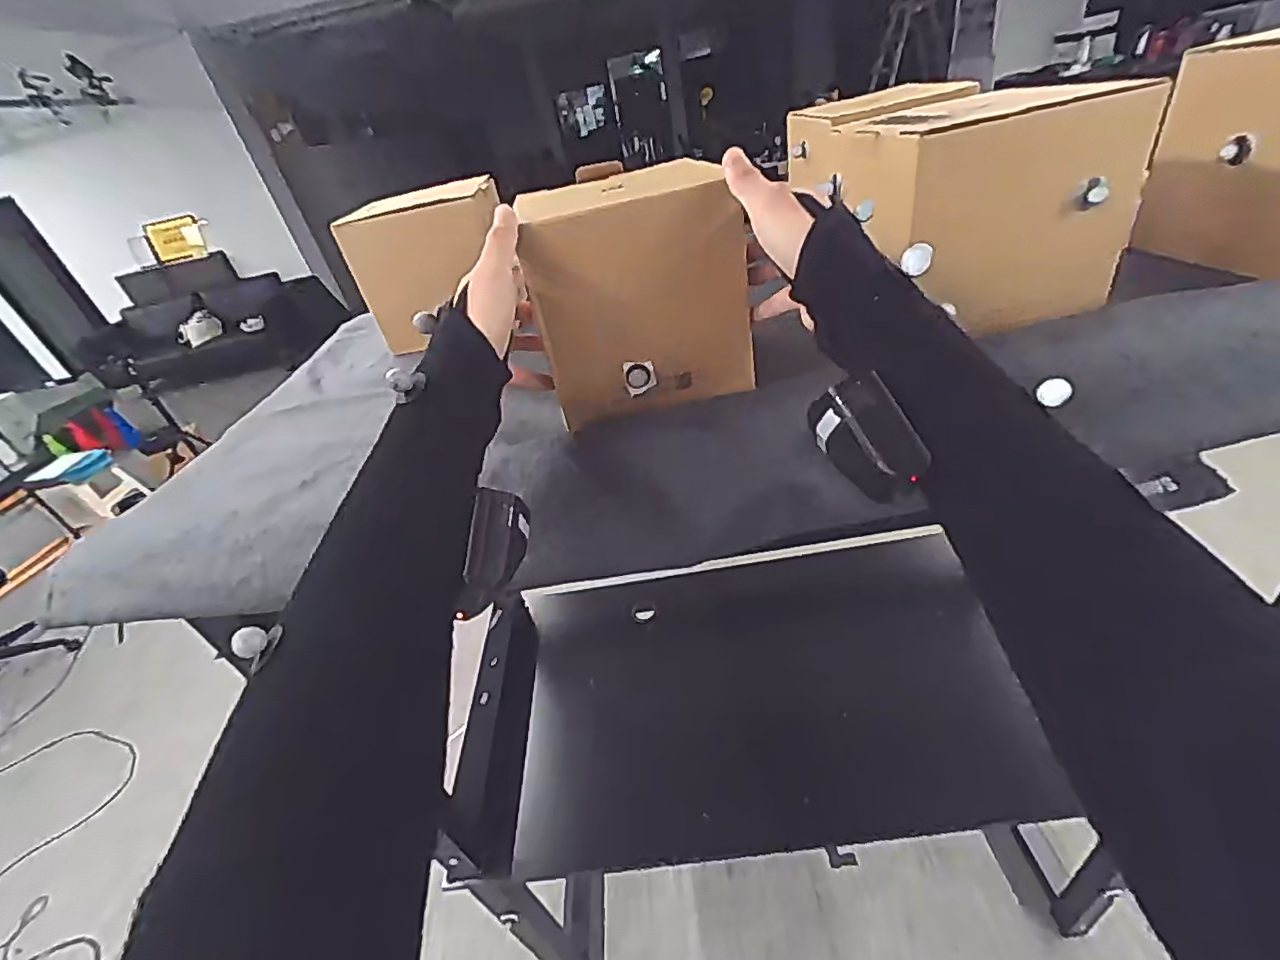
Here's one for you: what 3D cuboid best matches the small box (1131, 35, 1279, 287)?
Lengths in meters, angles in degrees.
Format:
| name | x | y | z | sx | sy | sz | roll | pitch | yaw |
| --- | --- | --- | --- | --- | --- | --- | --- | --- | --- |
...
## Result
| name | x | y | z | sx | sy | sz | roll | pitch | yaw |
| --- | --- | --- | --- | --- | --- | --- | --- | --- | --- |
| small box | 0.575 | -0.271 | 0.446 | 0.168 | 0.176 | 0.179 | -12 | 34 | 2 |

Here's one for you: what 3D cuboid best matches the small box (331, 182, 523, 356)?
| name | x | y | z | sx | sy | sz | roll | pitch | yaw |
| --- | --- | --- | --- | --- | --- | --- | --- | --- | --- |
| small box | -0.268 | -0.286 | 0.735 | 0.179 | 0.176 | 0.168 | -10 | 35 | 1 |

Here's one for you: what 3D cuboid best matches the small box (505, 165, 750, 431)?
| name | x | y | z | sx | sy | sz | roll | pitch | yaw |
| --- | --- | --- | --- | --- | --- | --- | --- | --- | --- |
| small box | -0.010 | -0.164 | 0.477 | 0.168 | 0.176 | 0.179 | -14 | 34 | -2 |

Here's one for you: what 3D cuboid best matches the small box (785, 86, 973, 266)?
| name | x | y | z | sx | sy | sz | roll | pitch | yaw |
| --- | --- | --- | --- | --- | --- | --- | --- | --- | --- |
| small box | 0.298 | -0.394 | 0.709 | 0.168 | 0.176 | 0.179 | -11 | 35 | 3 |
